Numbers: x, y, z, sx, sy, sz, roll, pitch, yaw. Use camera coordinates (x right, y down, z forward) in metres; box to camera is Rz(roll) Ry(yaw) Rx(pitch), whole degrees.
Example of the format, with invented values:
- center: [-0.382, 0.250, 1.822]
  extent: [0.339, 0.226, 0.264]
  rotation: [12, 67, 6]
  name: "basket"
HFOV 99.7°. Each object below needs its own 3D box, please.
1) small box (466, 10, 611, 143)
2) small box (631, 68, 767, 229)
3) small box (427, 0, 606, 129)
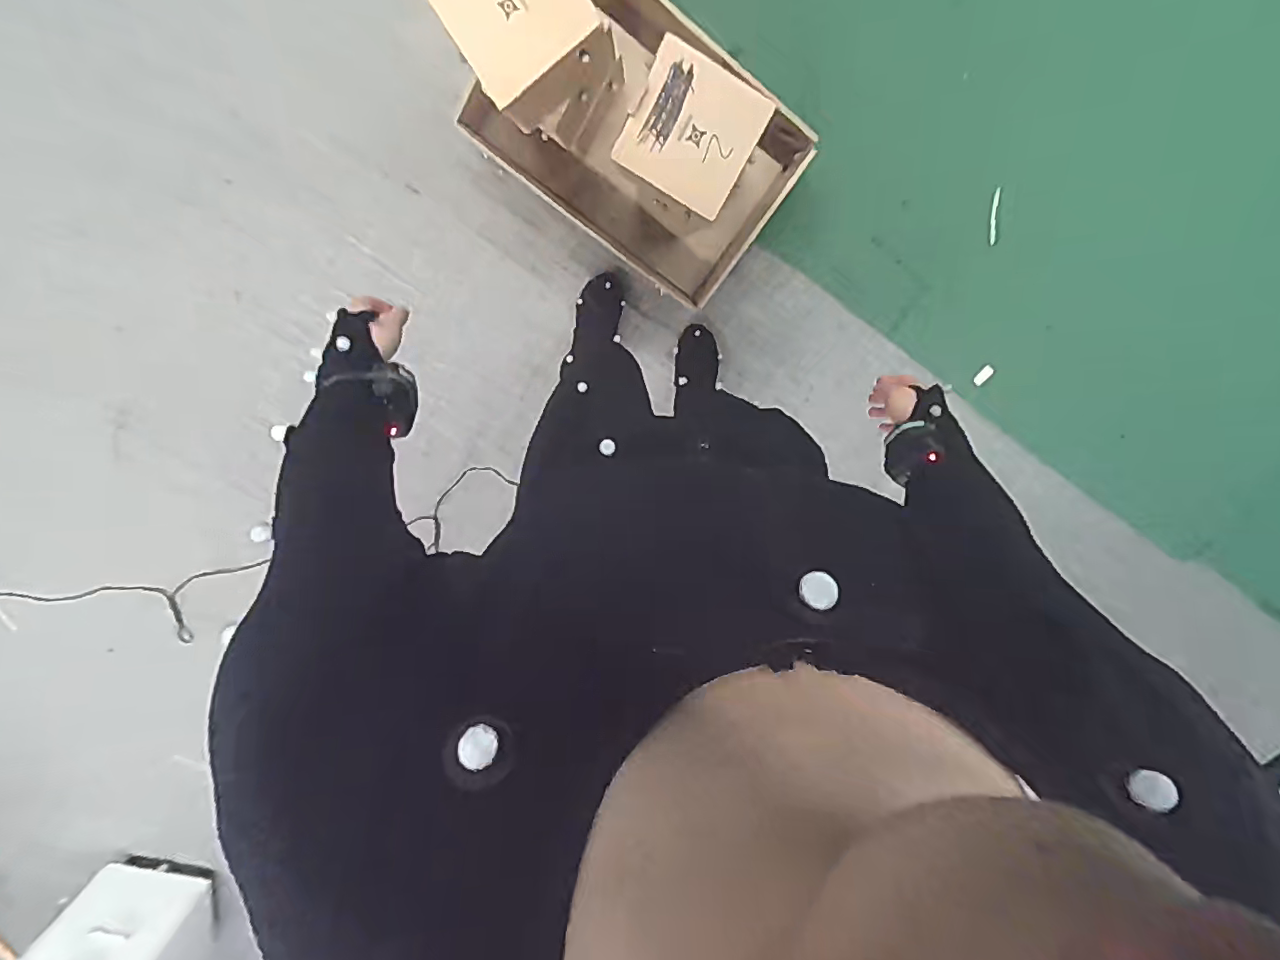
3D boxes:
- center: [-0.158, -0.706, 0.907]
  extent: [0.168, 0.176, 0.179]
  rotation: [32, 109, -13]
  name: "small box"
- center: [0.098, -0.572, 0.963]
  extent: [0.168, 0.176, 0.179]
  rotation: [29, 112, -8]
  name: "small box"
- center: [-0.162, -0.636, 0.761]
  extent: [0.179, 0.176, 0.168]
  rotation: [-31, 109, 12]
  name: "small box"
